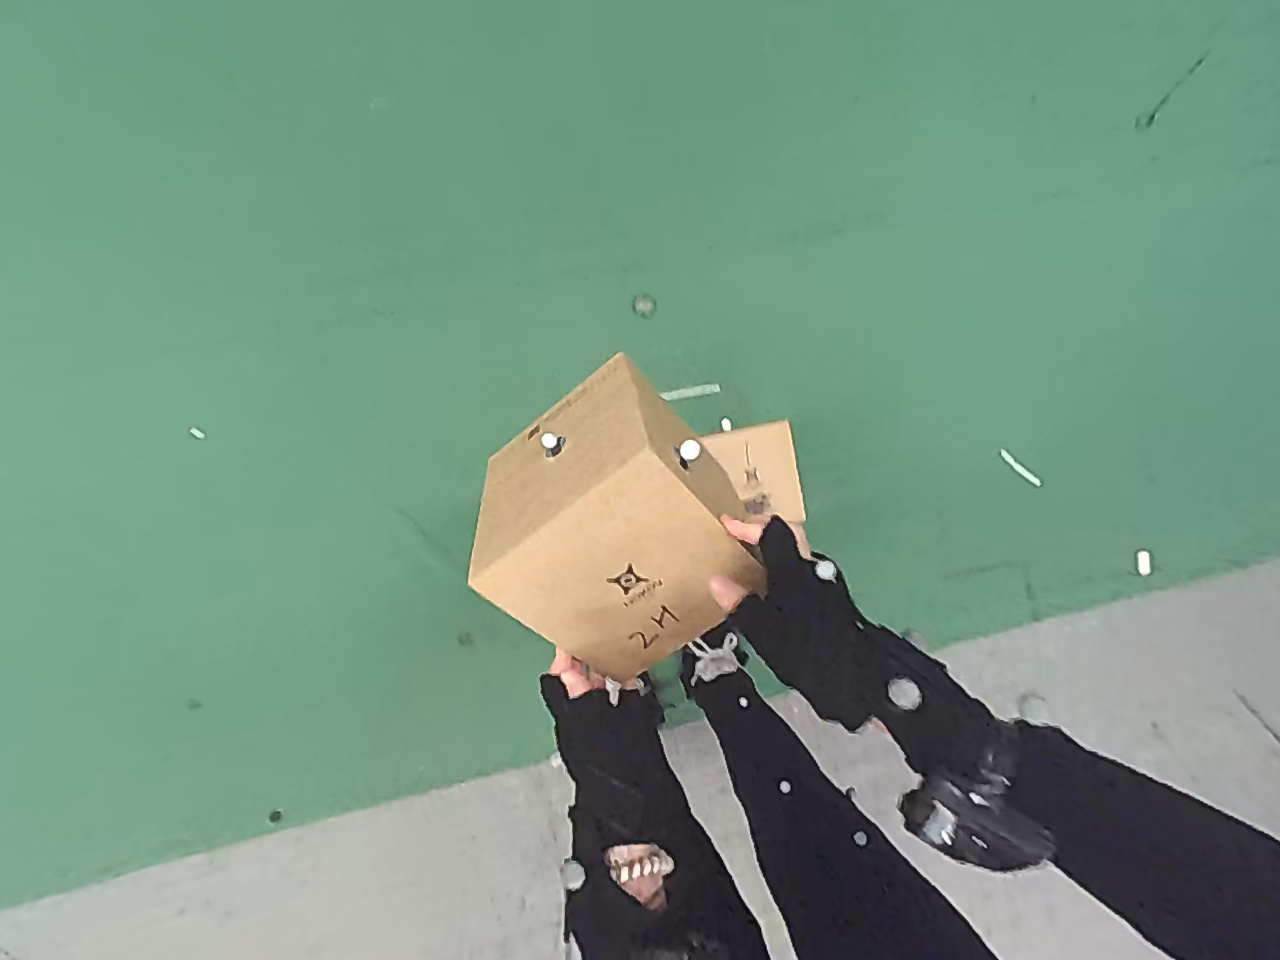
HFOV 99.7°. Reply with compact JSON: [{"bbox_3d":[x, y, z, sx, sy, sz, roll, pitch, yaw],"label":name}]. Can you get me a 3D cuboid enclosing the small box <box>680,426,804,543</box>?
[{"bbox_3d":[0.179,0.002,0.993,0.168,0.176,0.179,-12,95,-6],"label":"small box"}]
